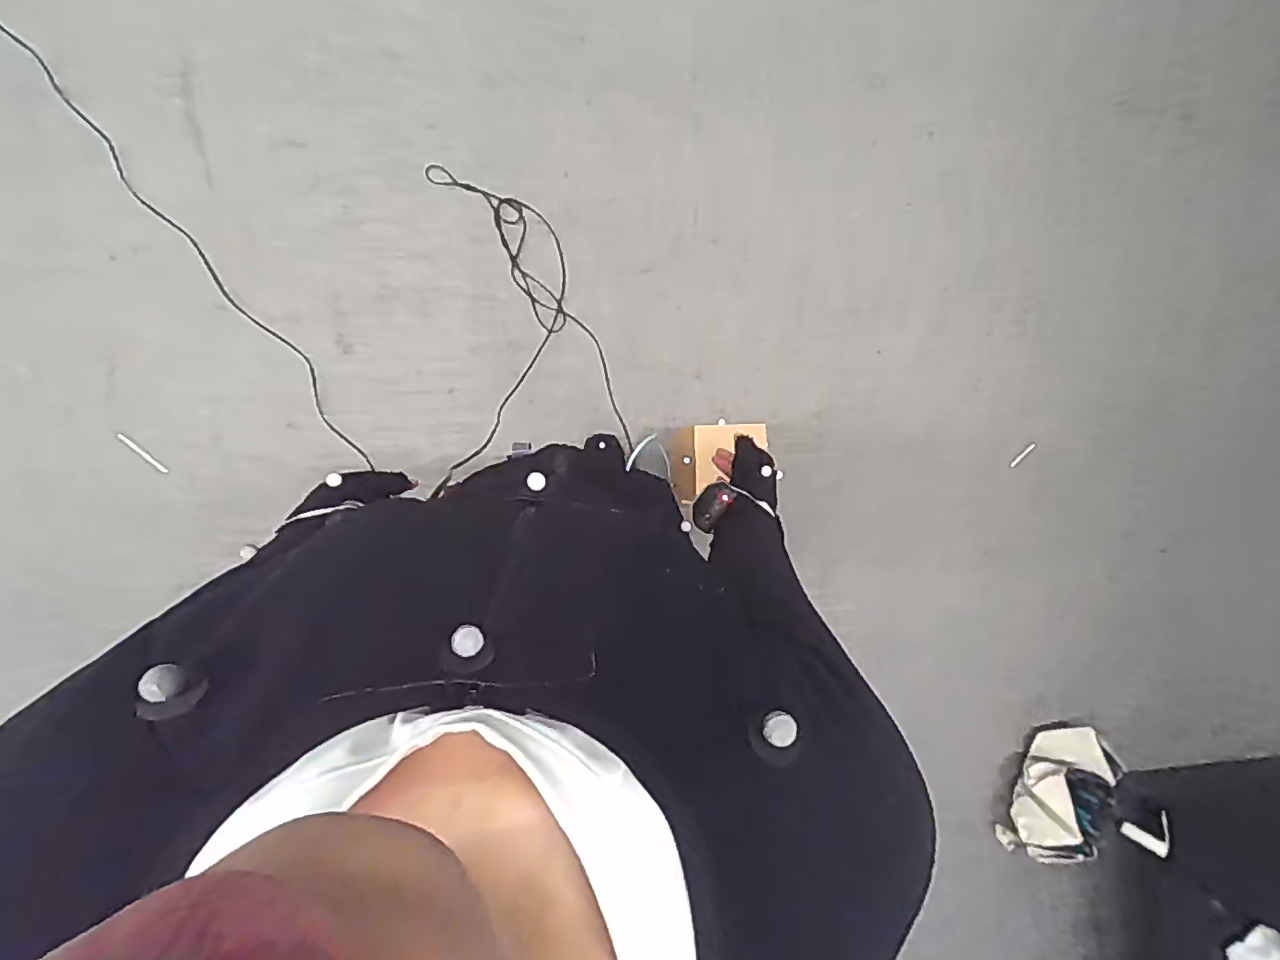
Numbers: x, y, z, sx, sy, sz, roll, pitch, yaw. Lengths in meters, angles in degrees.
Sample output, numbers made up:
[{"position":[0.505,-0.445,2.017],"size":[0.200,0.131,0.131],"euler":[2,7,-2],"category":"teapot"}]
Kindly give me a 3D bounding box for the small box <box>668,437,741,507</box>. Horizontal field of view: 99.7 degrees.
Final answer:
[{"position":[0.170,-0.024,1.443],"size":[0.168,0.176,0.179],"euler":[1,92,-8],"category":"small box"}]

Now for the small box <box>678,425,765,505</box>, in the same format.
[{"position":[0.187,-0.036,1.279],"size":[0.168,0.176,0.179],"euler":[-2,93,-7],"category":"small box"}]
